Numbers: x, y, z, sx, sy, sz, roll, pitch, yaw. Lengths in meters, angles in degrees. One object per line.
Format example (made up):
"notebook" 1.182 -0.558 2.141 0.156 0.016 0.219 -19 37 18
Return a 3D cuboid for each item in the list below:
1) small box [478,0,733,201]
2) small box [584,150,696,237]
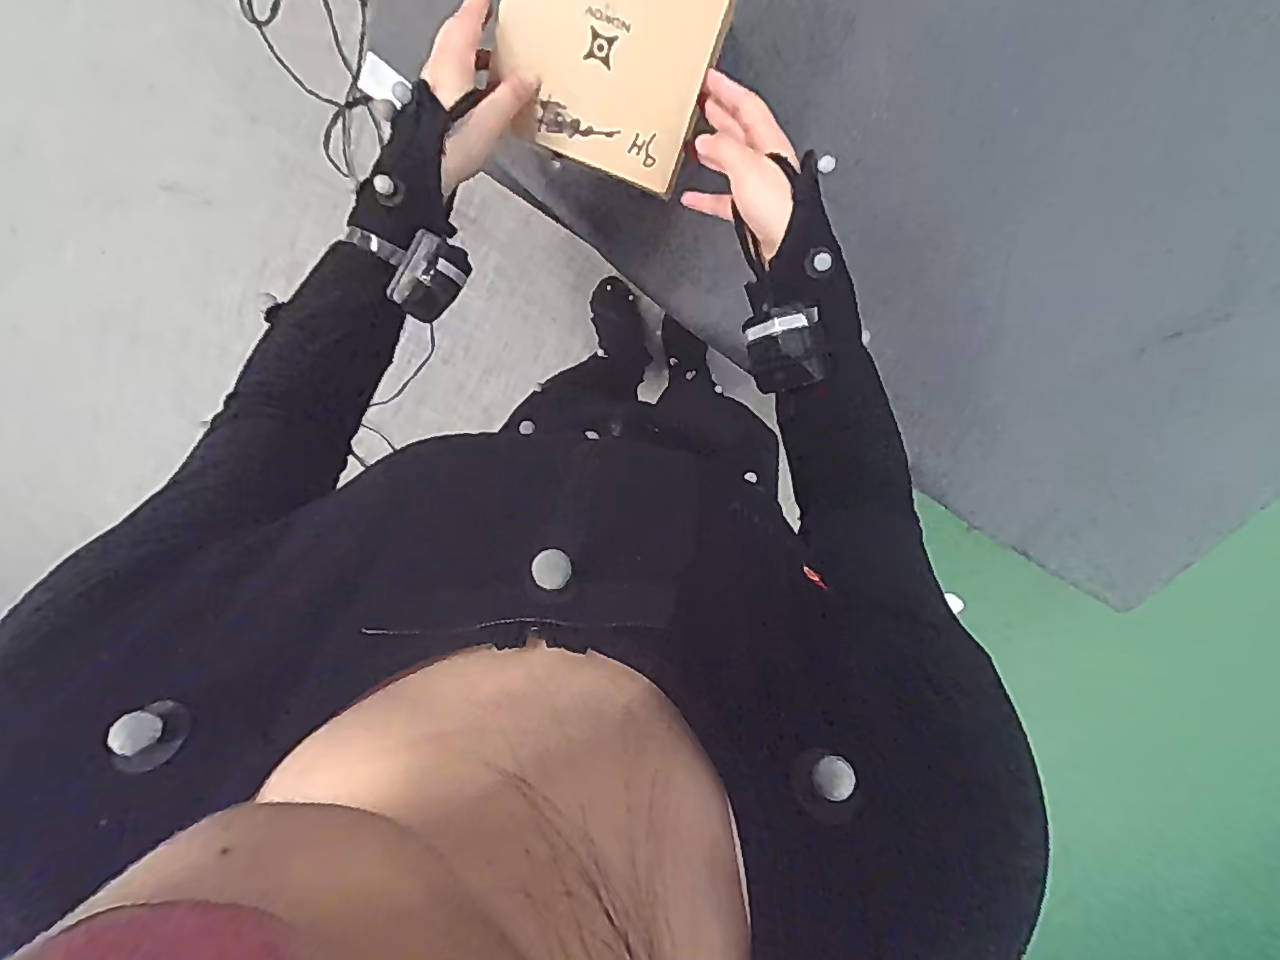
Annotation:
"small box" -0.024 -0.373 0.487 0.168 0.176 0.179 20 116 -5
"small box" 0.007 -0.649 1.163 0.168 0.176 0.179 36 112 -12
